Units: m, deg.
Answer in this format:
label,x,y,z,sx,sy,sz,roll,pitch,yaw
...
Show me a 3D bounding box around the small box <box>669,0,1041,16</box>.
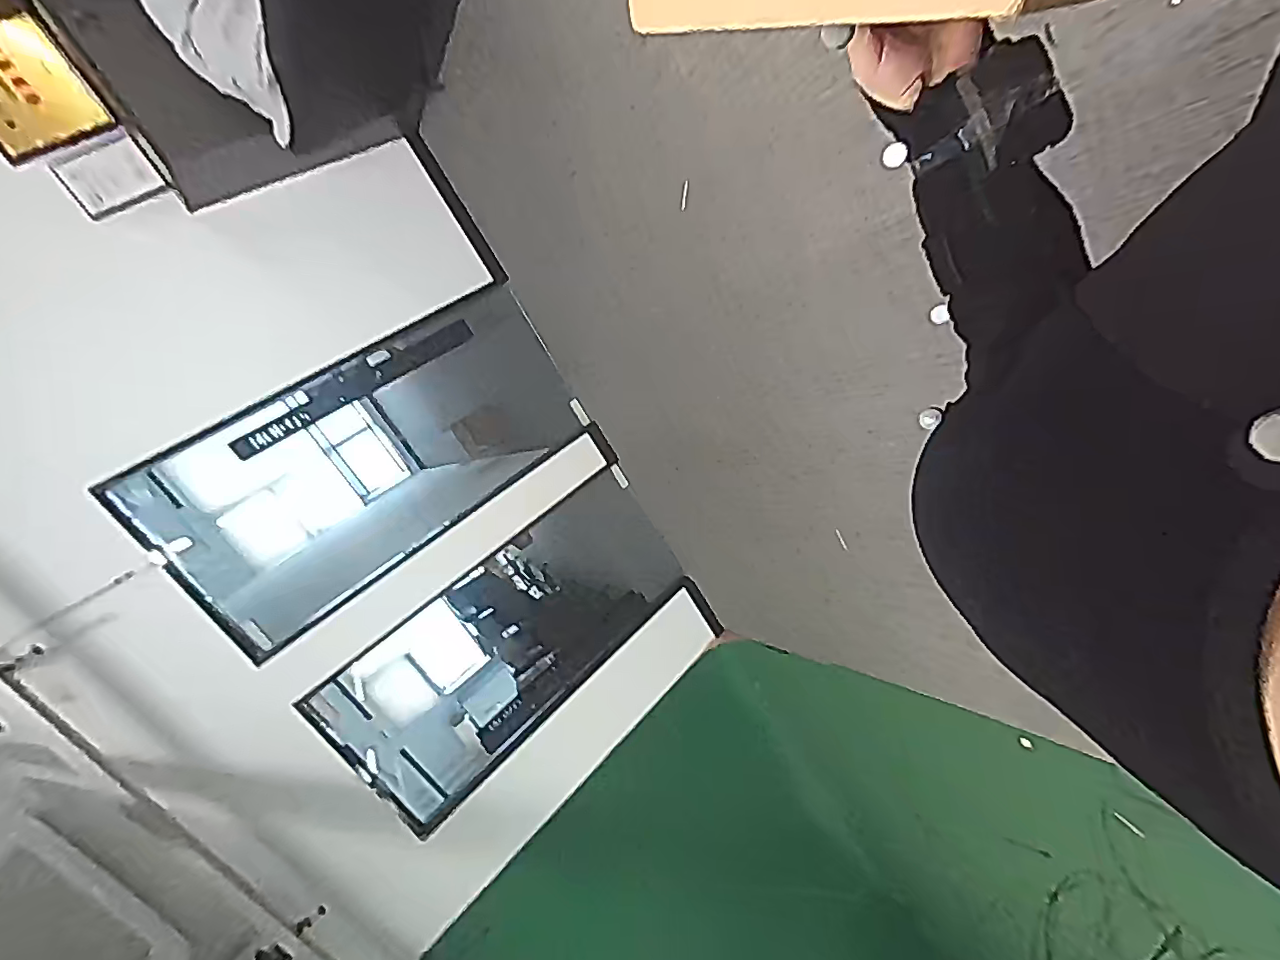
label,x,y,z,sx,sy,sz,roll,pitch,yaw
small box,0.126,-0.285,0.197,0.179,0.176,0.168,35,146,36
